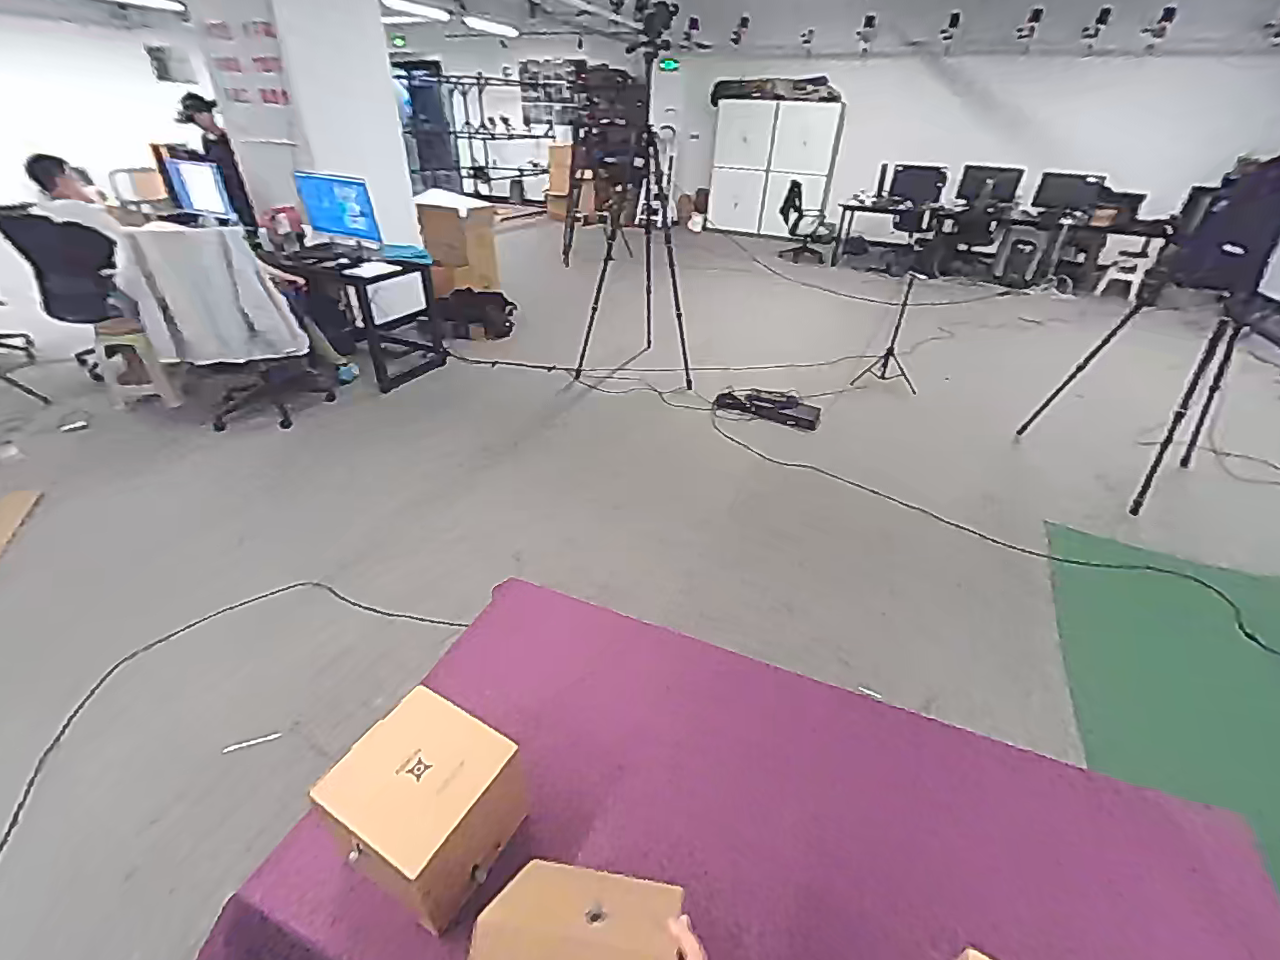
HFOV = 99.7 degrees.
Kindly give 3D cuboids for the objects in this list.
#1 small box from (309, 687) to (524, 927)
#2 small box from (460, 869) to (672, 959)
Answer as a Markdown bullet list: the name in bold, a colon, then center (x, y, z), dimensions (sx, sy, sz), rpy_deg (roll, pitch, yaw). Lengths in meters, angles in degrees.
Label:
- **small box**: center (-0.268, 0.407, 0.681), dimensions (0.179, 0.176, 0.168), rpy_deg (19, 38, 23)
- **small box**: center (-0.065, 0.490, 0.498), dimensions (0.179, 0.176, 0.168), rpy_deg (5, 71, 8)
